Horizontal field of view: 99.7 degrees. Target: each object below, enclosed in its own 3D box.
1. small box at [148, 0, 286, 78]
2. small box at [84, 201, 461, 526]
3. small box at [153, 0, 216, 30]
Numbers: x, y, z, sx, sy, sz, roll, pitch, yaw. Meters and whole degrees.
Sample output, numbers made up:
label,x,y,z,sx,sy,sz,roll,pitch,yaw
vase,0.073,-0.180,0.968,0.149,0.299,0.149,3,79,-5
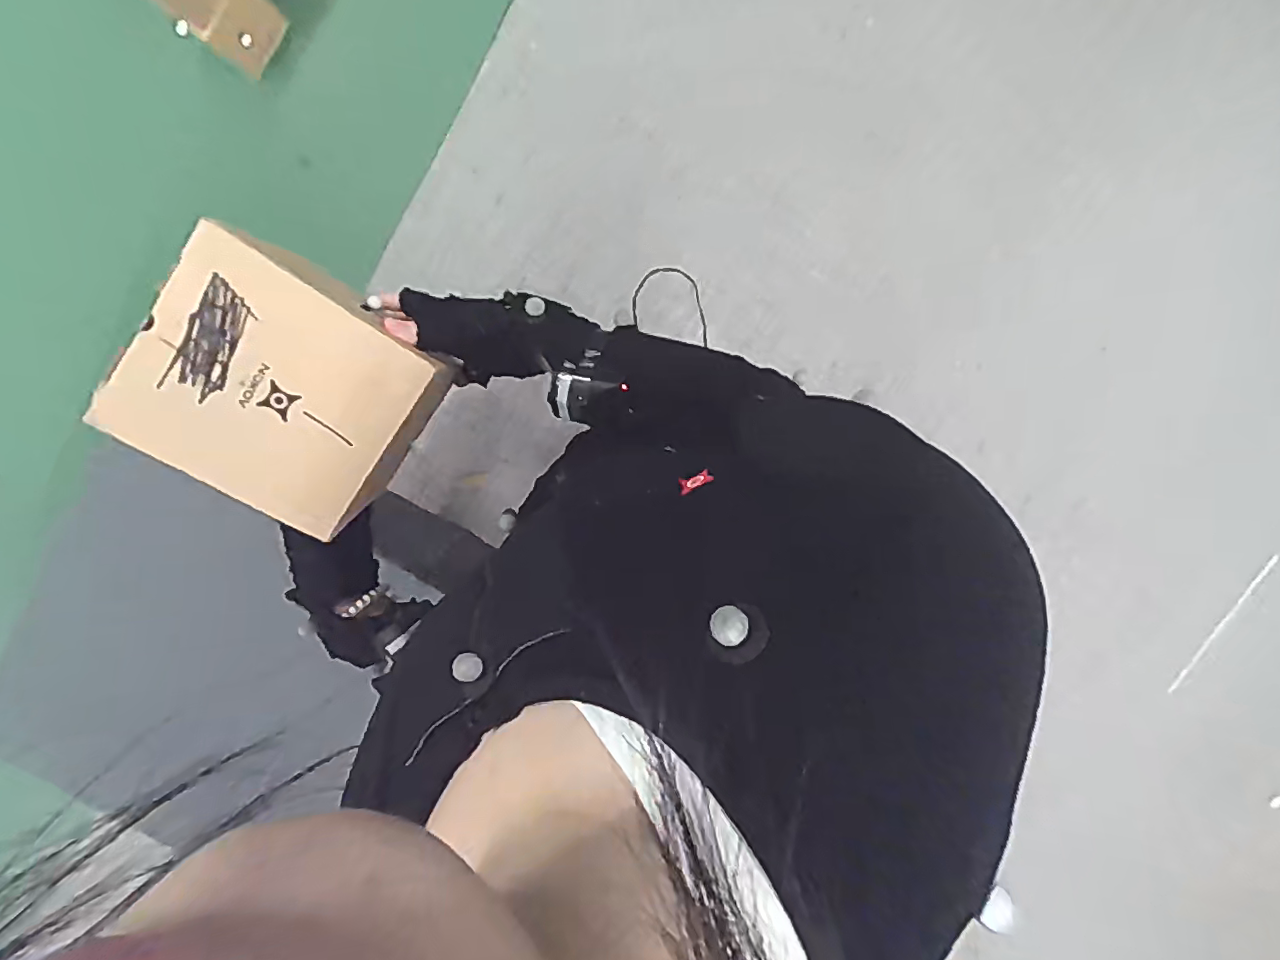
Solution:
label,x,y,z,sx,sy,sz,roll,pitch,yaw
small box,-0.987,-1.100,1.270,0.179,0.176,0.168,37,97,-4
small box,-0.278,-0.091,0.461,0.179,0.176,0.168,35,94,-17
small box,-0.993,-1.090,1.105,0.168,0.176,0.179,36,97,-4
